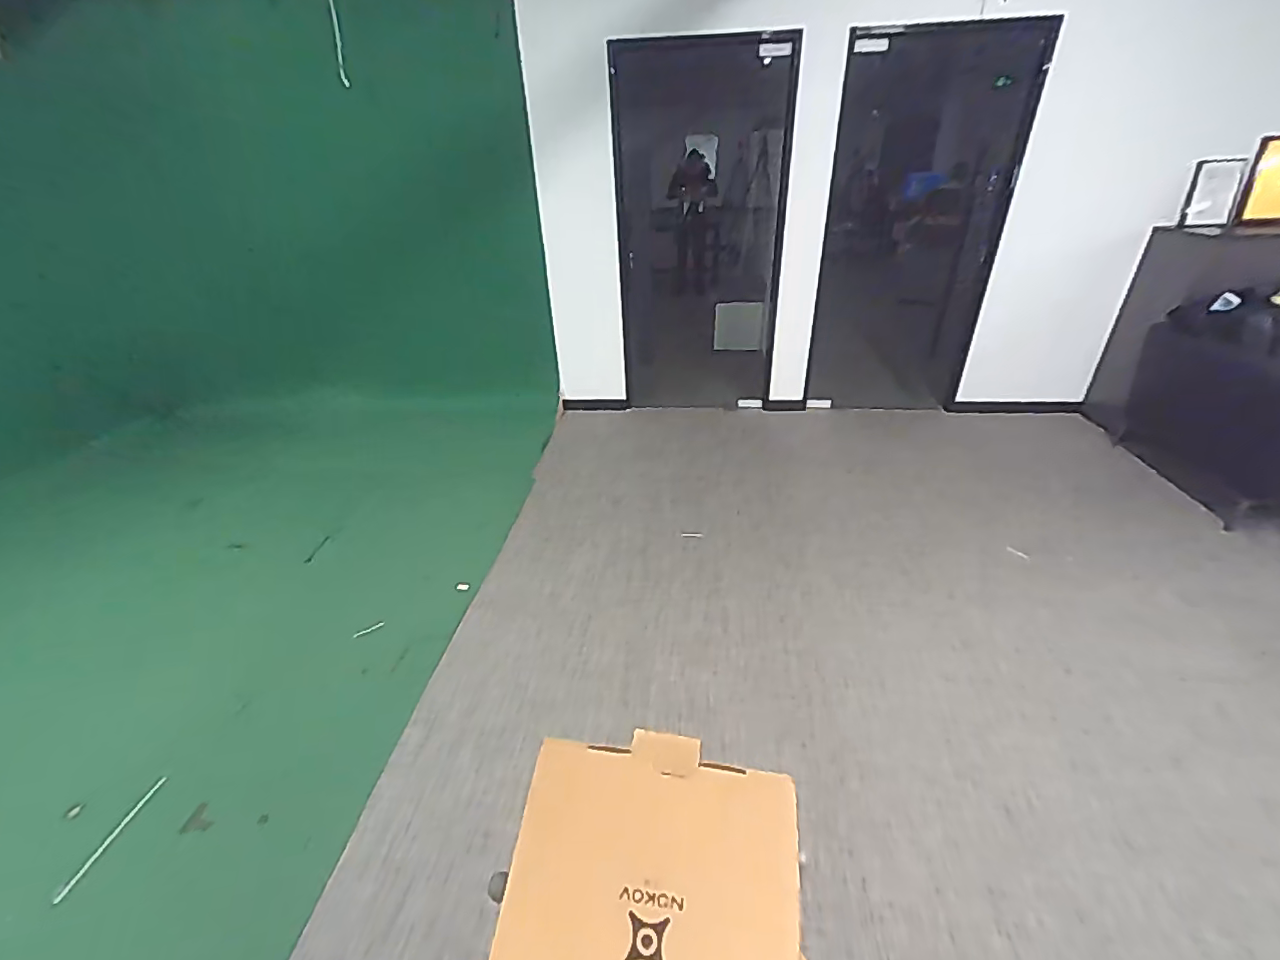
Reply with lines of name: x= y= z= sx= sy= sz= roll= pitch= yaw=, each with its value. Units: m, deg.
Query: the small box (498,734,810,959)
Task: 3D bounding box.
small box: x=0.009 y=0.293 z=0.354 sx=0.168 sy=0.176 sz=0.179 roll=6 pitch=49 yaw=4
